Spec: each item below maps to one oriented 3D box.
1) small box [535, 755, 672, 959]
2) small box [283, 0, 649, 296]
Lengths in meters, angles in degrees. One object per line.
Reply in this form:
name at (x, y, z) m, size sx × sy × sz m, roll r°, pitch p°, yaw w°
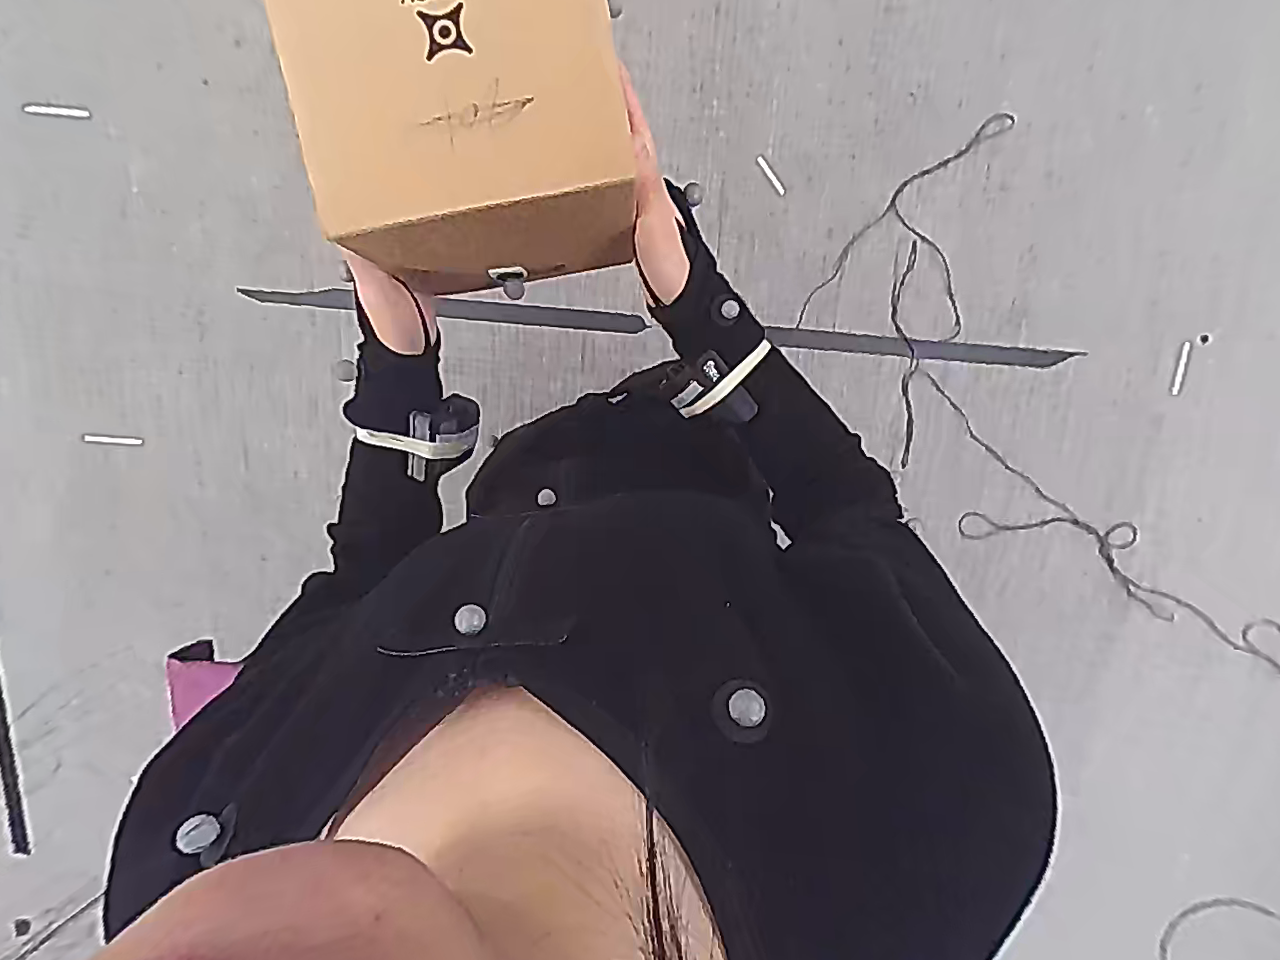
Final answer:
small box at (-0.050, 0.531, 0.772) m, size 0.168 × 0.176 × 0.179 m, roll 5°, pitch 102°, yaw -3°
small box at (-0.093, -0.235, 0.348) m, size 0.168 × 0.176 × 0.179 m, roll -11°, pitch 99°, yaw 0°
